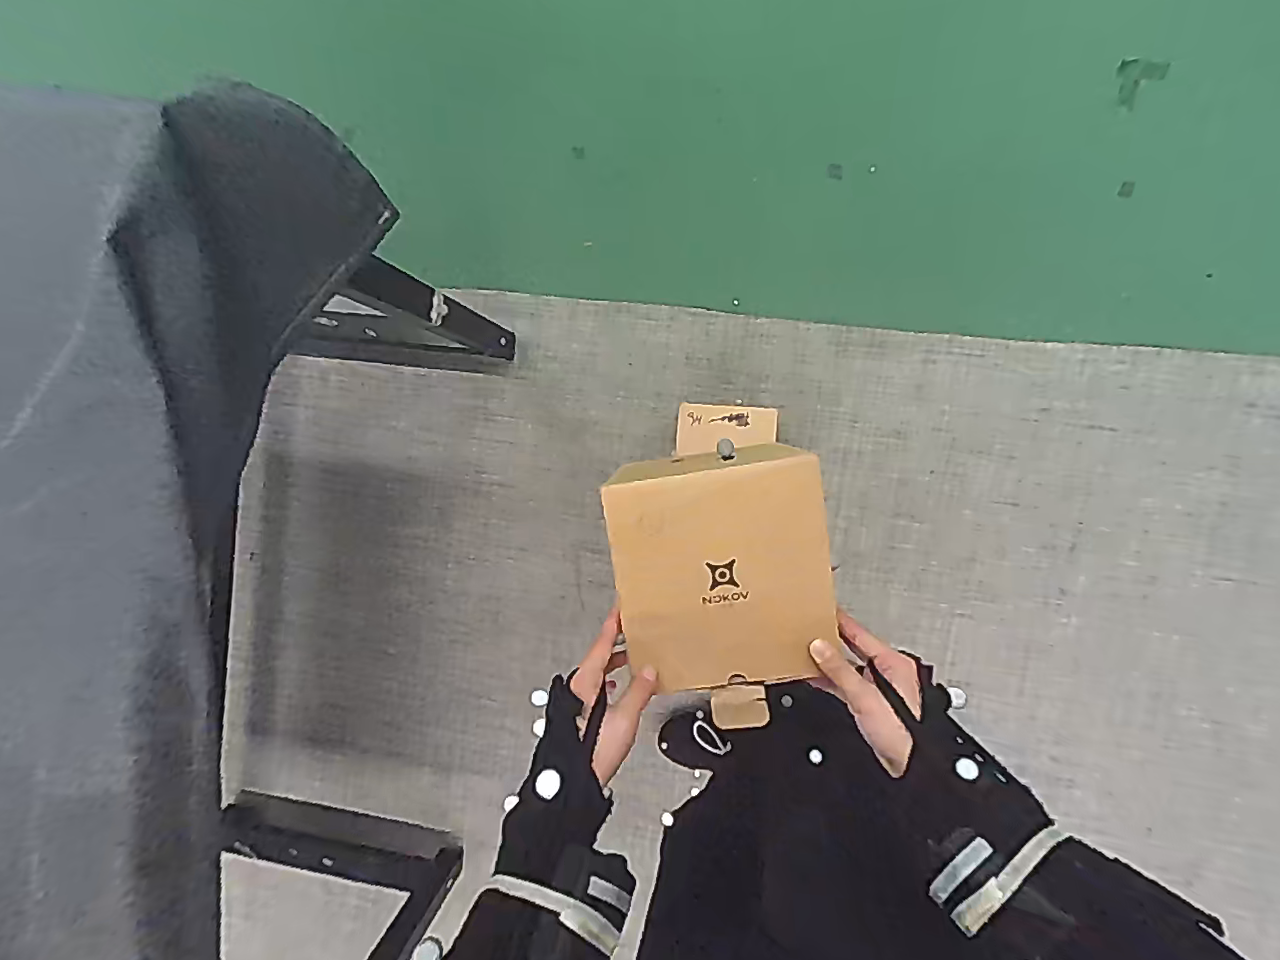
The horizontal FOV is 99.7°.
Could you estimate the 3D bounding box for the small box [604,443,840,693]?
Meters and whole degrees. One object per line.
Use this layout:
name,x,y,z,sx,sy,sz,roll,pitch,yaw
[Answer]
small box,0.066,0.063,0.491,0.168,0.176,0.179,-8,98,4
